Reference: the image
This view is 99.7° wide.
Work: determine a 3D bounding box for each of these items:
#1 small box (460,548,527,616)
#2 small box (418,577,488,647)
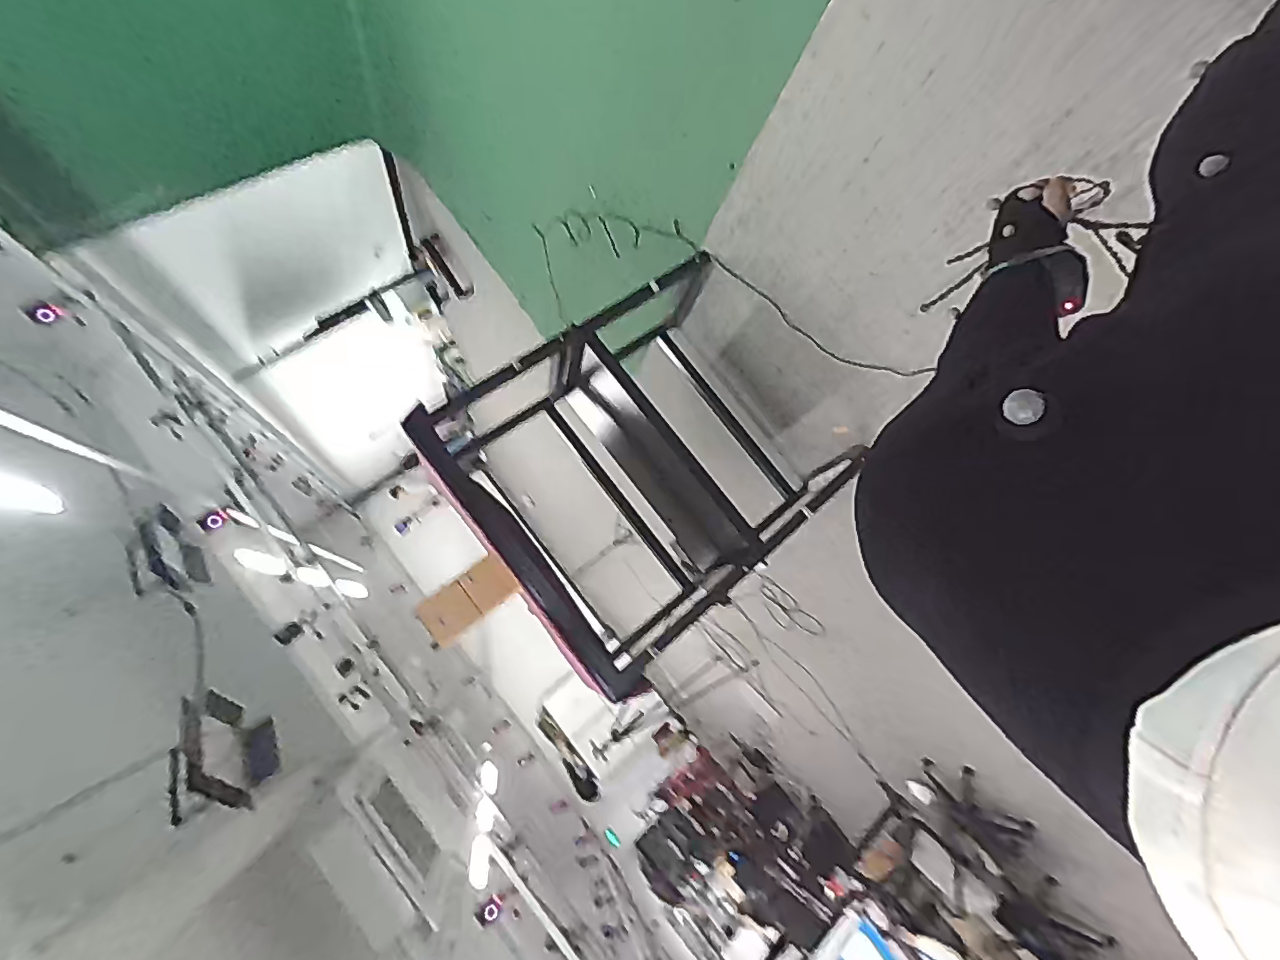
[{"bbox_3d":[-0.525,0.372,1.963,0.179,0.176,0.168,52,161,5],"label":"small box"},{"bbox_3d":[-0.651,0.465,1.910,0.179,0.176,0.168,52,161,4],"label":"small box"}]
